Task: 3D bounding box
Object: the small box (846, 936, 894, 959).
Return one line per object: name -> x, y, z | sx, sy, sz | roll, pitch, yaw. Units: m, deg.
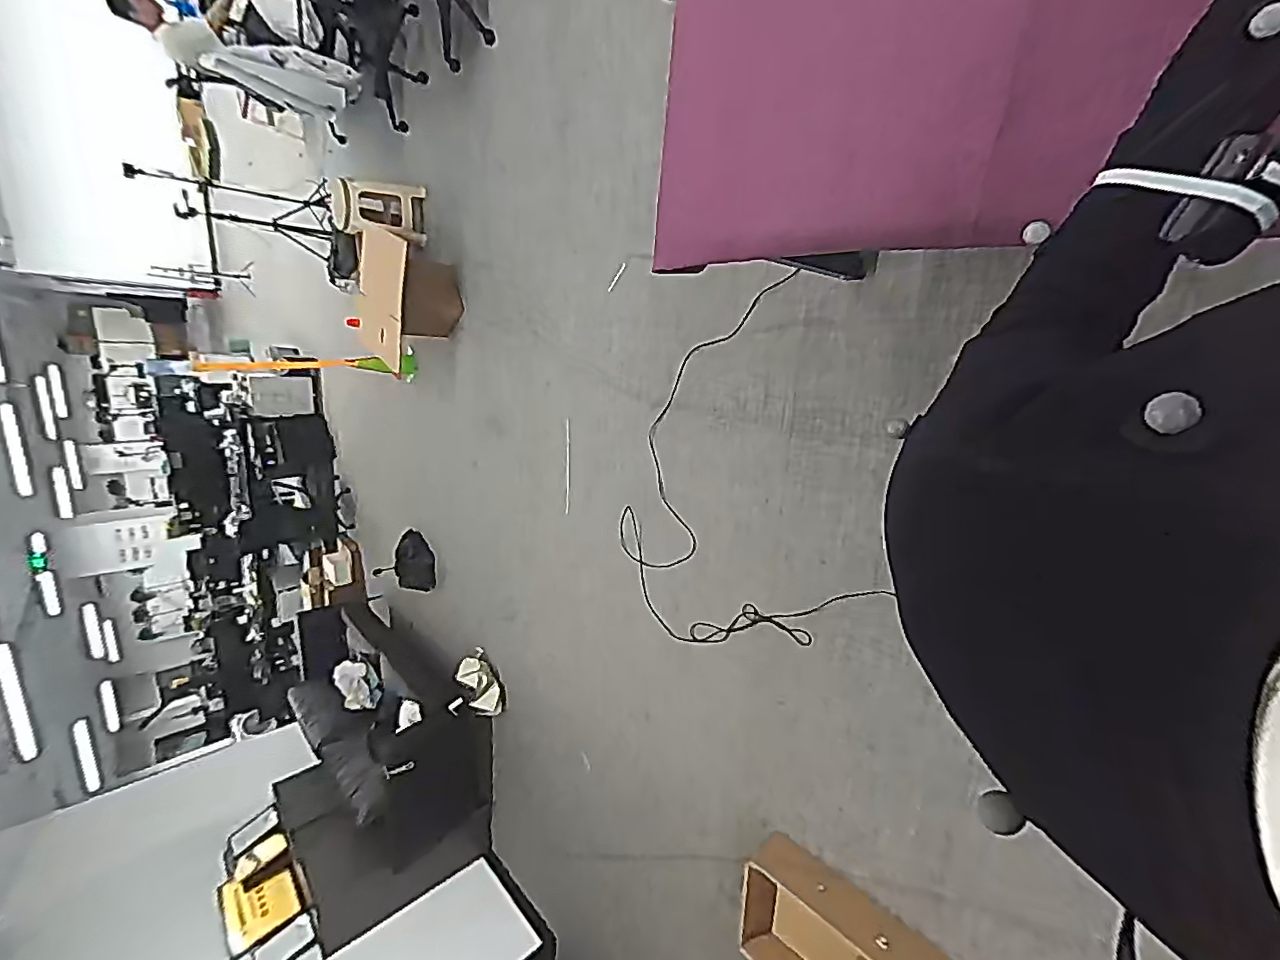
small box -> 0.695, 1.541, 1.615 | 0.168, 0.176, 0.179 | 17, 111, 44
